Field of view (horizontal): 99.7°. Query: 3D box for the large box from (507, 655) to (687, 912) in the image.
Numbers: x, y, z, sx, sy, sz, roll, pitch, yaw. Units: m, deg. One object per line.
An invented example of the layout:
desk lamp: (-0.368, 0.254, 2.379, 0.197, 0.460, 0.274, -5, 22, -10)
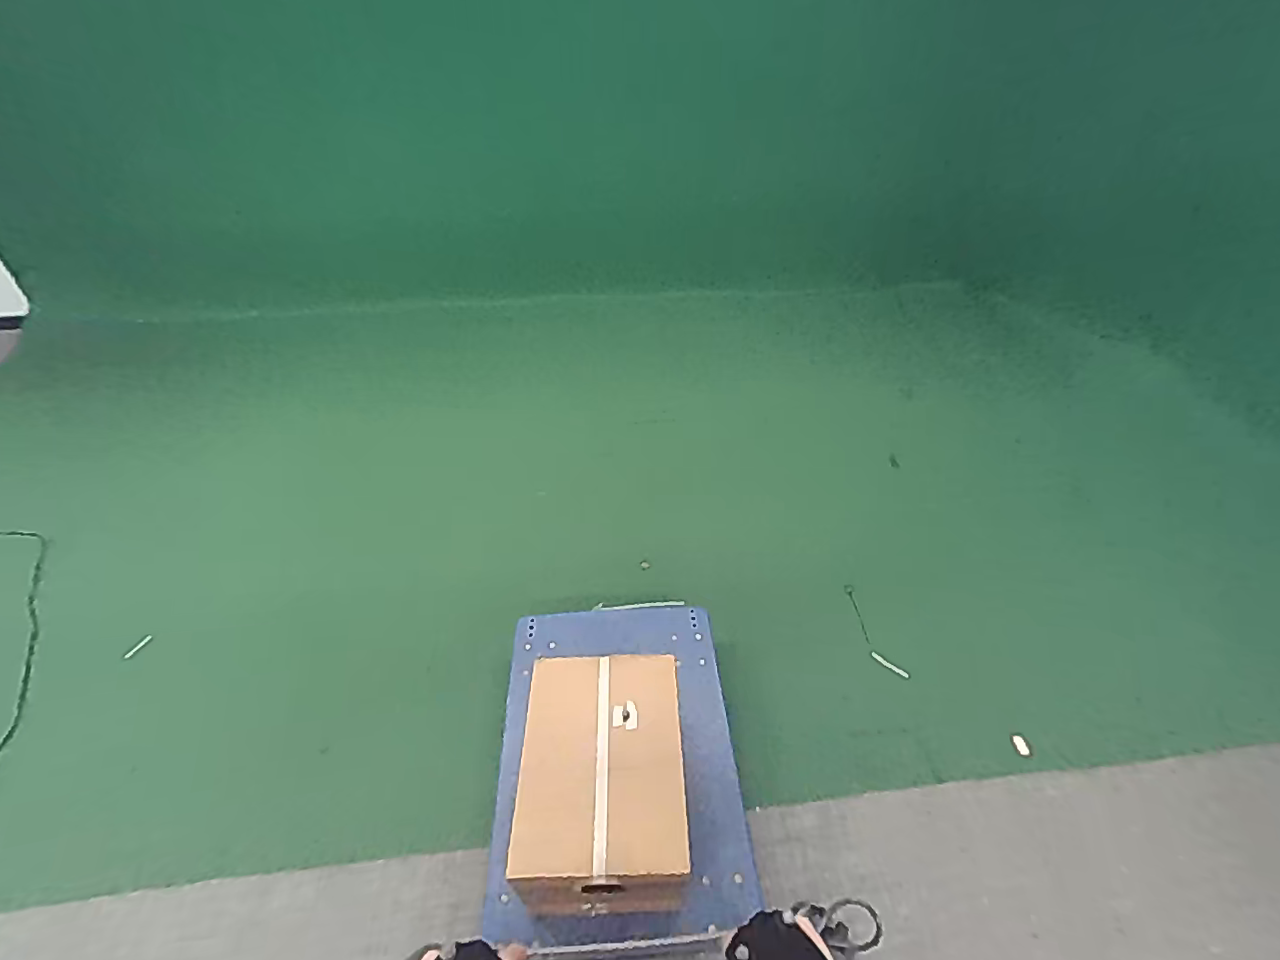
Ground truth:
large box: (-0.078, 0.638, 1.157, 0.320, 0.320, 0.408, 0, 42, -1)
